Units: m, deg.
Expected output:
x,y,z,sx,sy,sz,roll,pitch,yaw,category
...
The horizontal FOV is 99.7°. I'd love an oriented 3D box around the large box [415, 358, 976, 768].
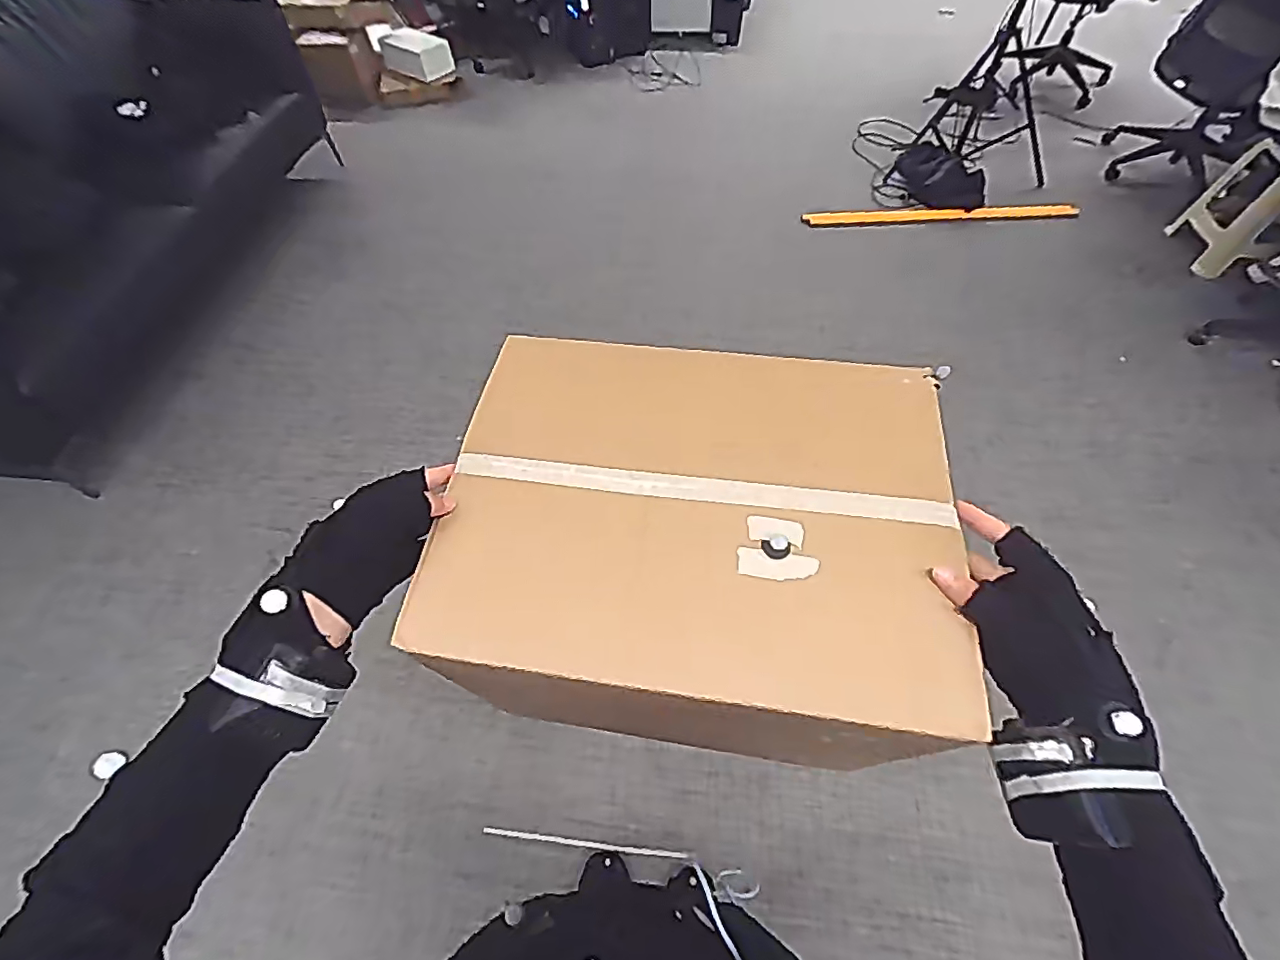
x,y,z,sx,sy,sz,roll,pitch,yaw,category
0.054,0.098,0.579,0.408,0.320,0.320,6,59,7,large box
